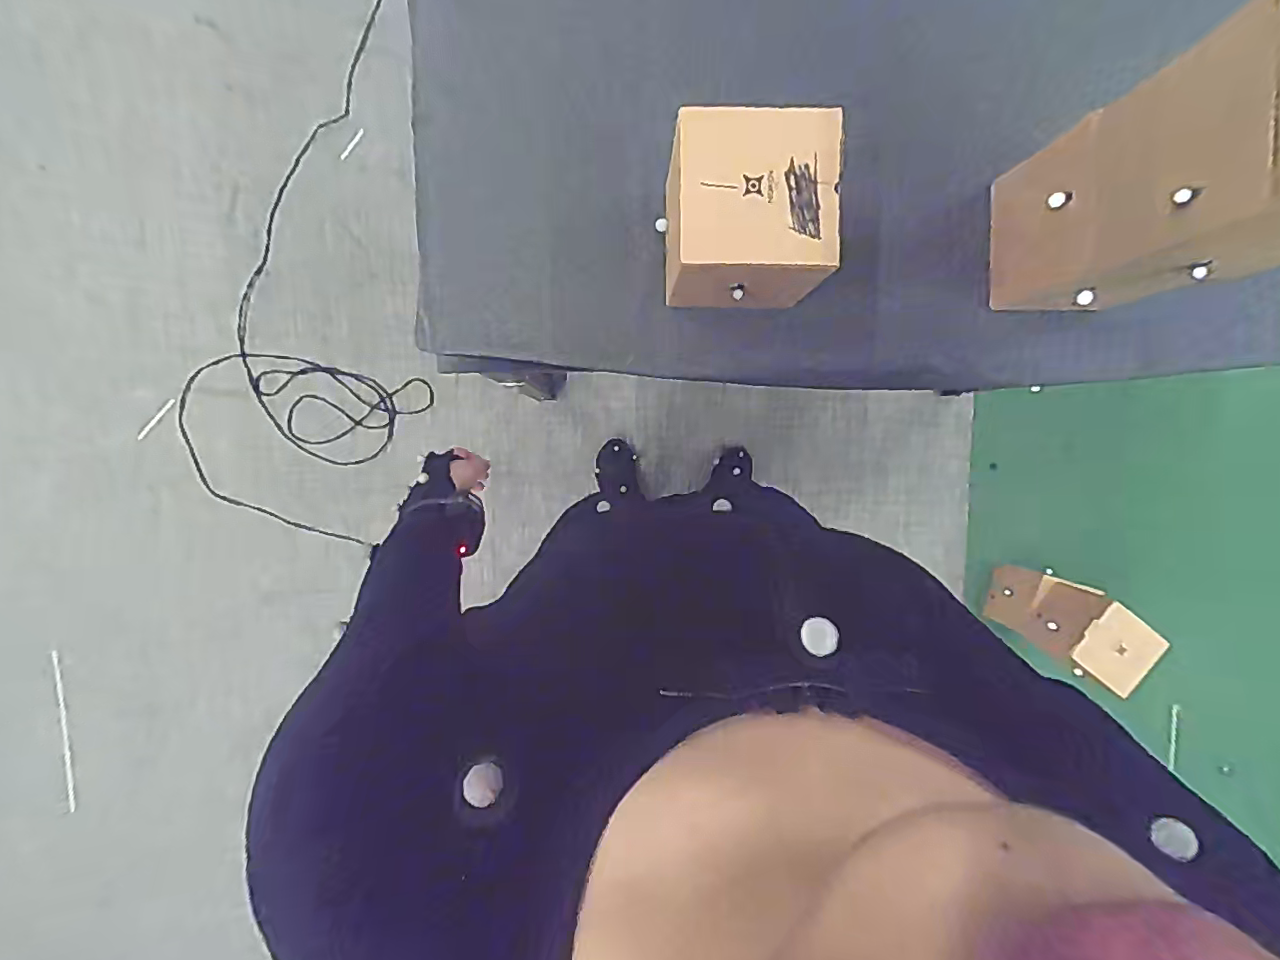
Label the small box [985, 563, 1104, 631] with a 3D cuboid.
[{"bbox_3d":[1.082,0.334,1.463,0.179,0.176,0.168,16,94,-3],"label":"small box"}]

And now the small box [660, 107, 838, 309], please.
[{"bbox_3d":[0.118,-0.309,0.649,0.179,0.176,0.168,0,93,-1],"label":"small box"}]

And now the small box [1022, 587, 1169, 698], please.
[{"bbox_3d":[1.082,0.378,1.303,0.179,0.176,0.168,36,93,-5],"label":"small box"}]

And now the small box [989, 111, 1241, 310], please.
[{"bbox_3d":[0.564,-0.314,0.666,0.168,0.176,0.179,-1,92,-2],"label":"small box"}]
